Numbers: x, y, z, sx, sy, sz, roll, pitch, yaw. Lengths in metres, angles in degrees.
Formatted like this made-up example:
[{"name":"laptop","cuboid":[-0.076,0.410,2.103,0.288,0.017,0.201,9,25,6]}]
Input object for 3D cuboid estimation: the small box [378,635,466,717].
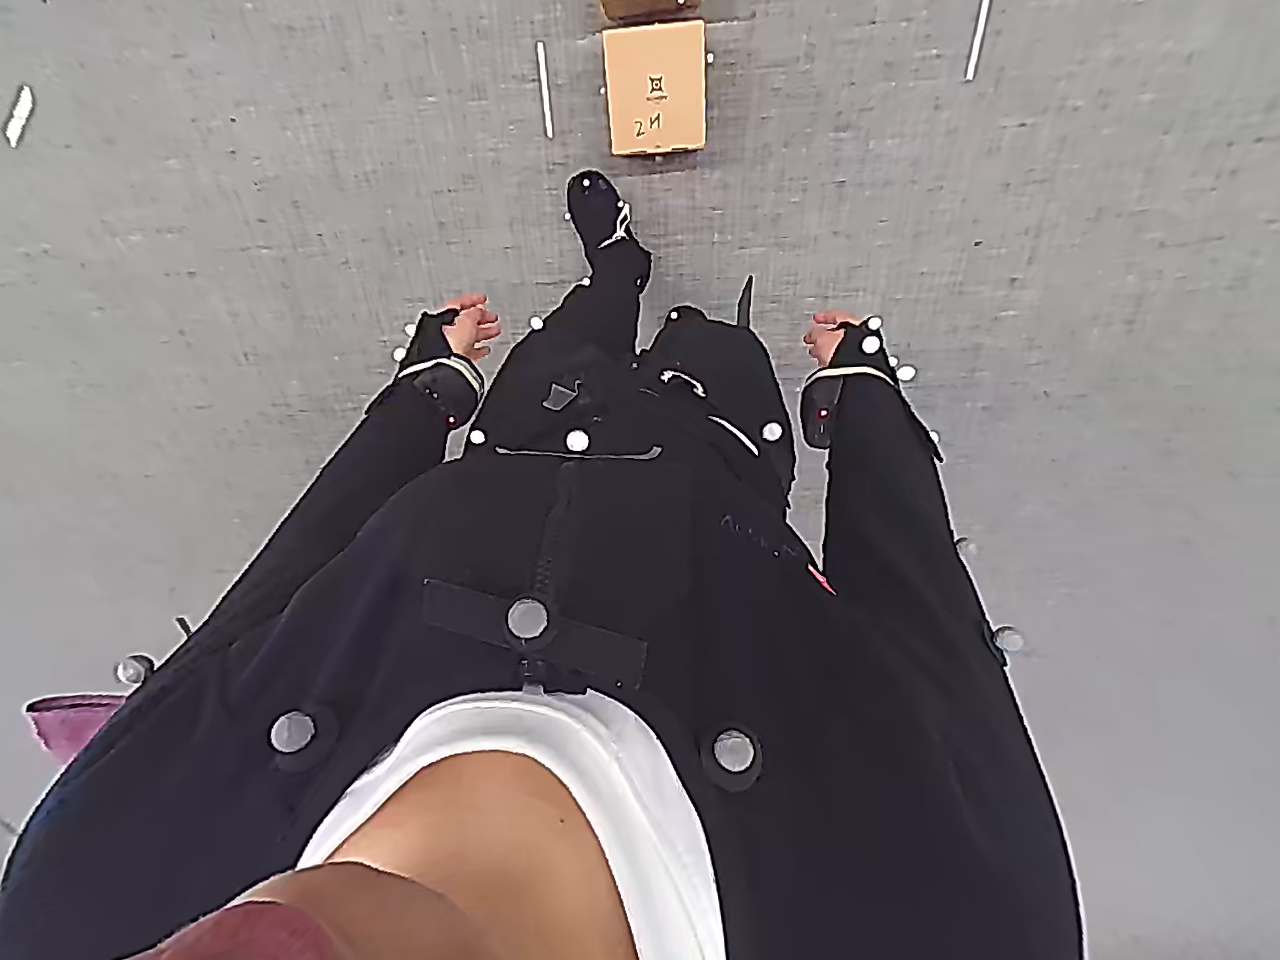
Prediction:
[{"name":"small box","cuboid":[-0.644,0.582,1.619,0.179,0.176,0.168,-3,121,2]}]
